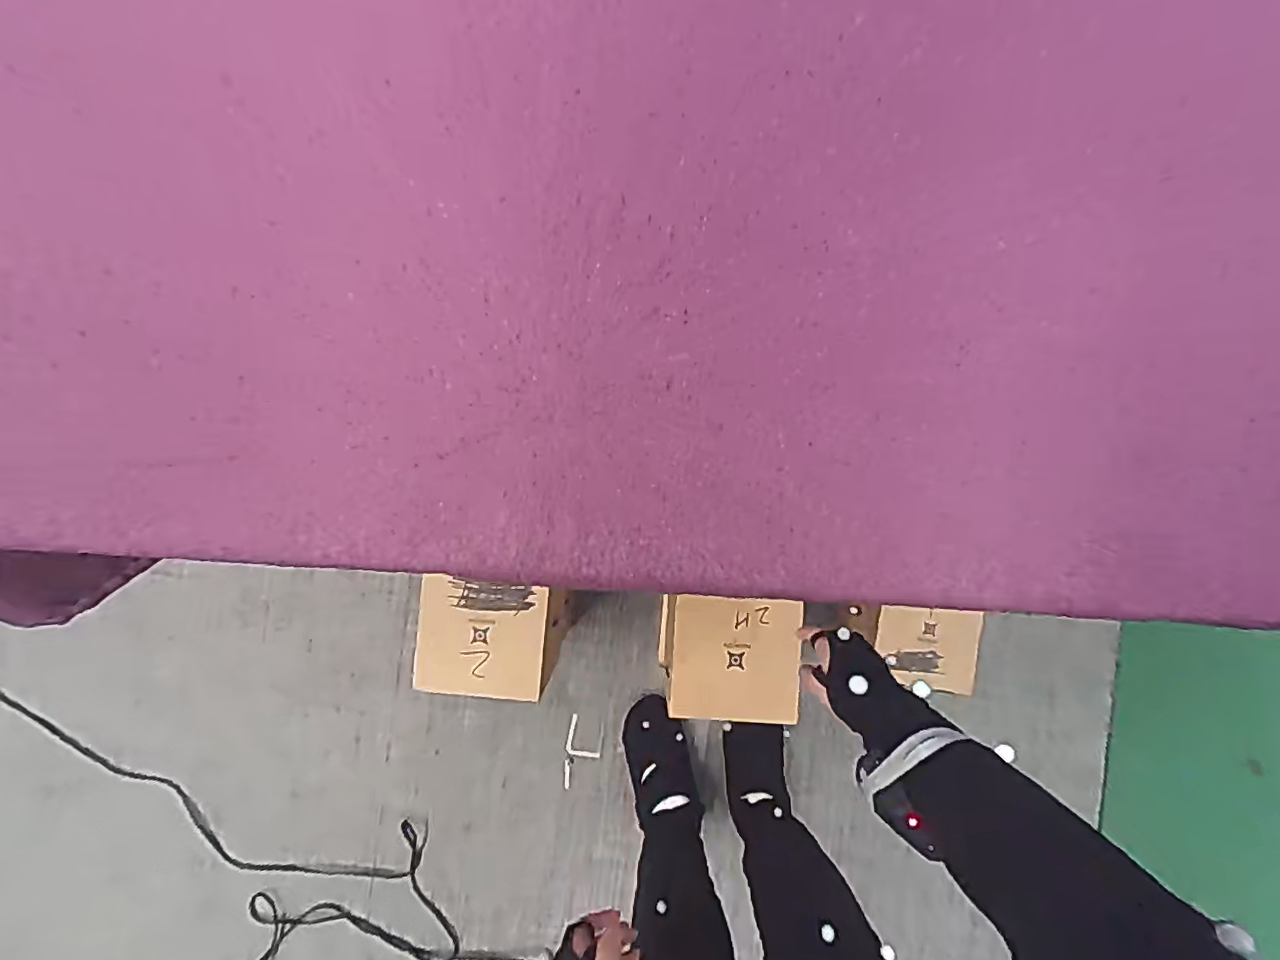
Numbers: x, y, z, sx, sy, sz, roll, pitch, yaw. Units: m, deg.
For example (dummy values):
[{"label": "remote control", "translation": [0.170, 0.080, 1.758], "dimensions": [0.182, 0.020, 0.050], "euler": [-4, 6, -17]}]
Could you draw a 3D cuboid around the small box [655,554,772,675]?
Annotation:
[{"label": "small box", "translation": [0.119, 0.224, 0.942], "dimensions": [0.179, 0.176, 0.168], "euler": [5, 89, 1]}]
